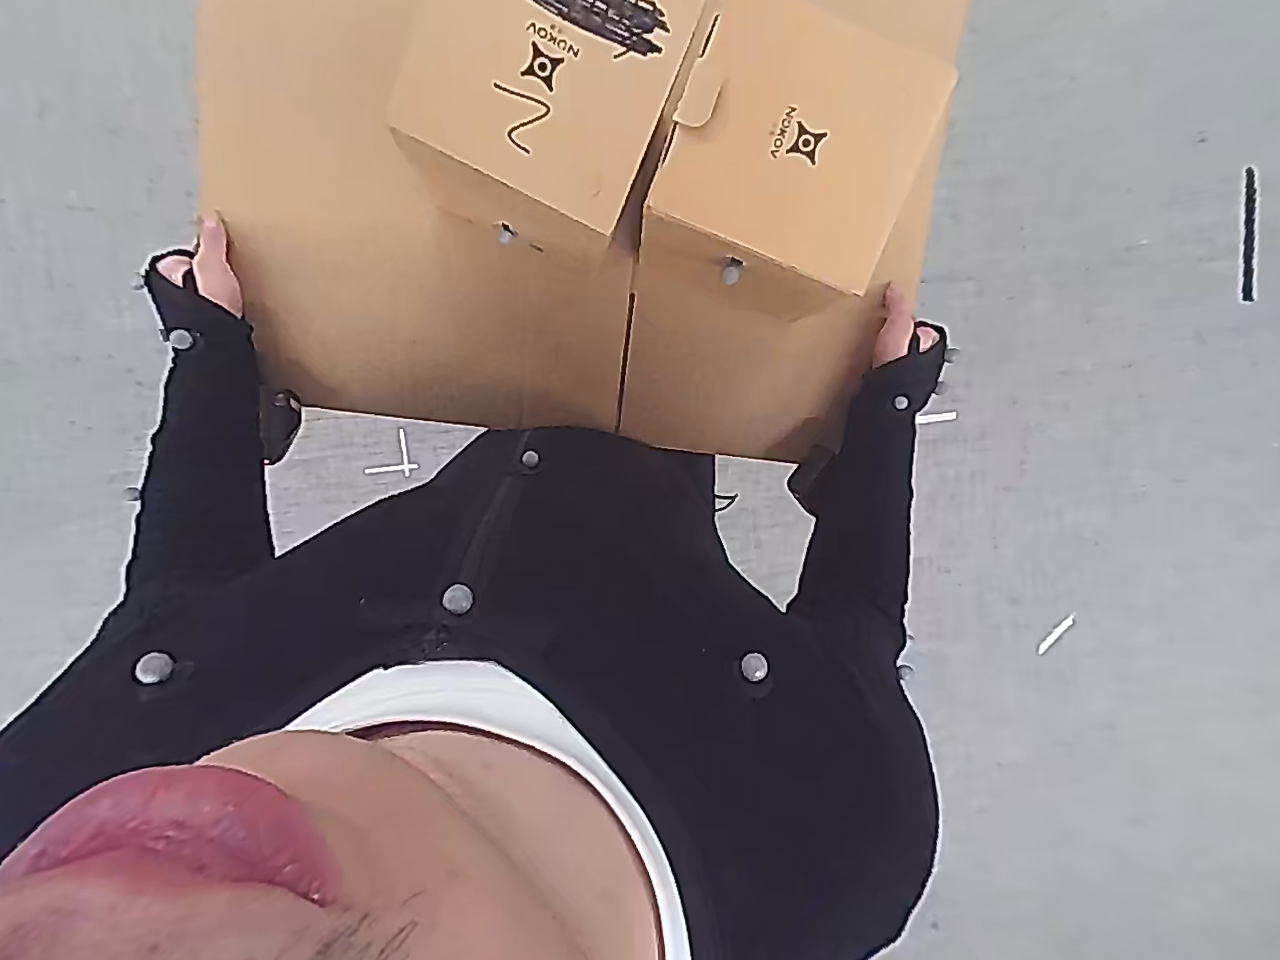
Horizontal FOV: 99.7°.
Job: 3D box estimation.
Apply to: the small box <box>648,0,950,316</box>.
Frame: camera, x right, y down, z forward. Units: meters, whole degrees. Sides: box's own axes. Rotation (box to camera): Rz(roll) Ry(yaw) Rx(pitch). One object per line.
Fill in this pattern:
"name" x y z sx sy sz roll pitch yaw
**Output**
"small box" 0.116 -0.256 0.475 0.179 0.176 0.168 20 97 -4
